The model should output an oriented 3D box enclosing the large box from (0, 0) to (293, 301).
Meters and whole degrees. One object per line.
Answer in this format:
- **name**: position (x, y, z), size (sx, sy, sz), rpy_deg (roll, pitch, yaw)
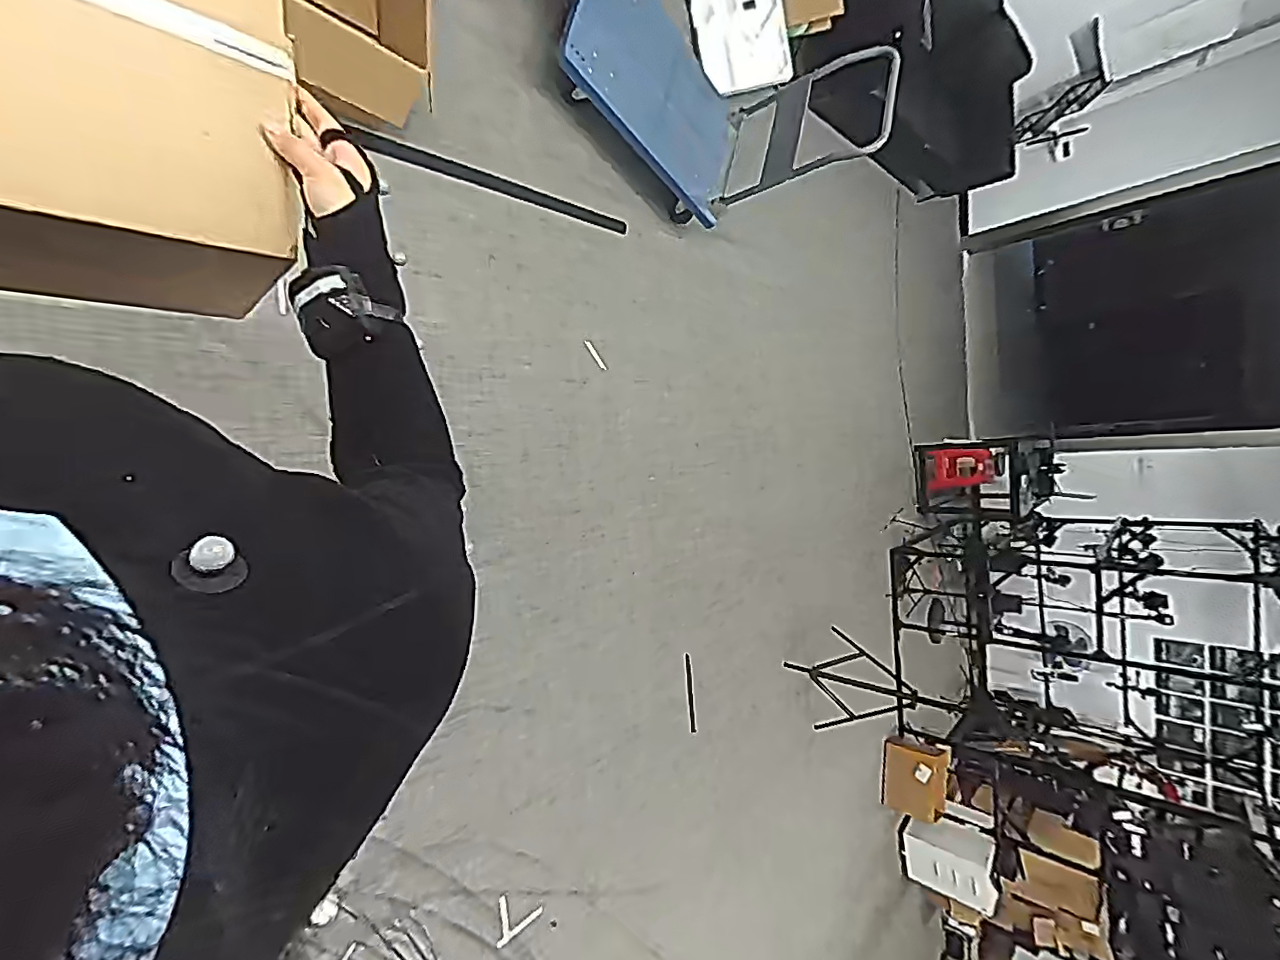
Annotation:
- **large box**: position (-0.554, -0.349, 0.435), size (0.408, 0.320, 0.320), rpy_deg (-5, 96, -44)
